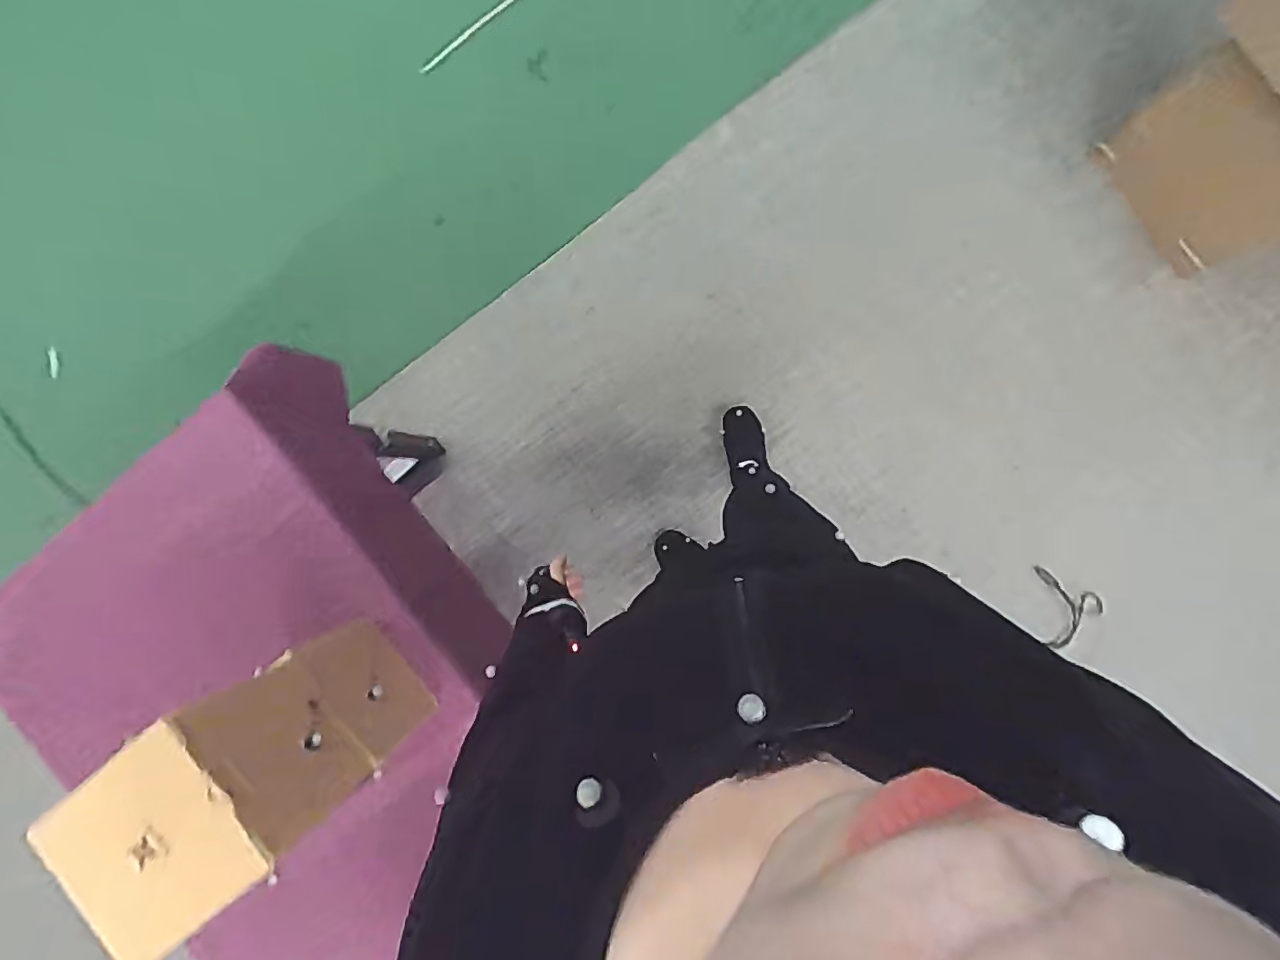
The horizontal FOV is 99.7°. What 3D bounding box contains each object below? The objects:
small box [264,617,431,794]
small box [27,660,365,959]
[{"bbox_3d":[-0.419,0.314,0.722,0.168,0.176,0.179,-41,88,3],"label":"small box"},{"bbox_3d":[-0.434,0.322,0.560,0.179,0.176,0.168,-40,87,3],"label":"small box"}]
